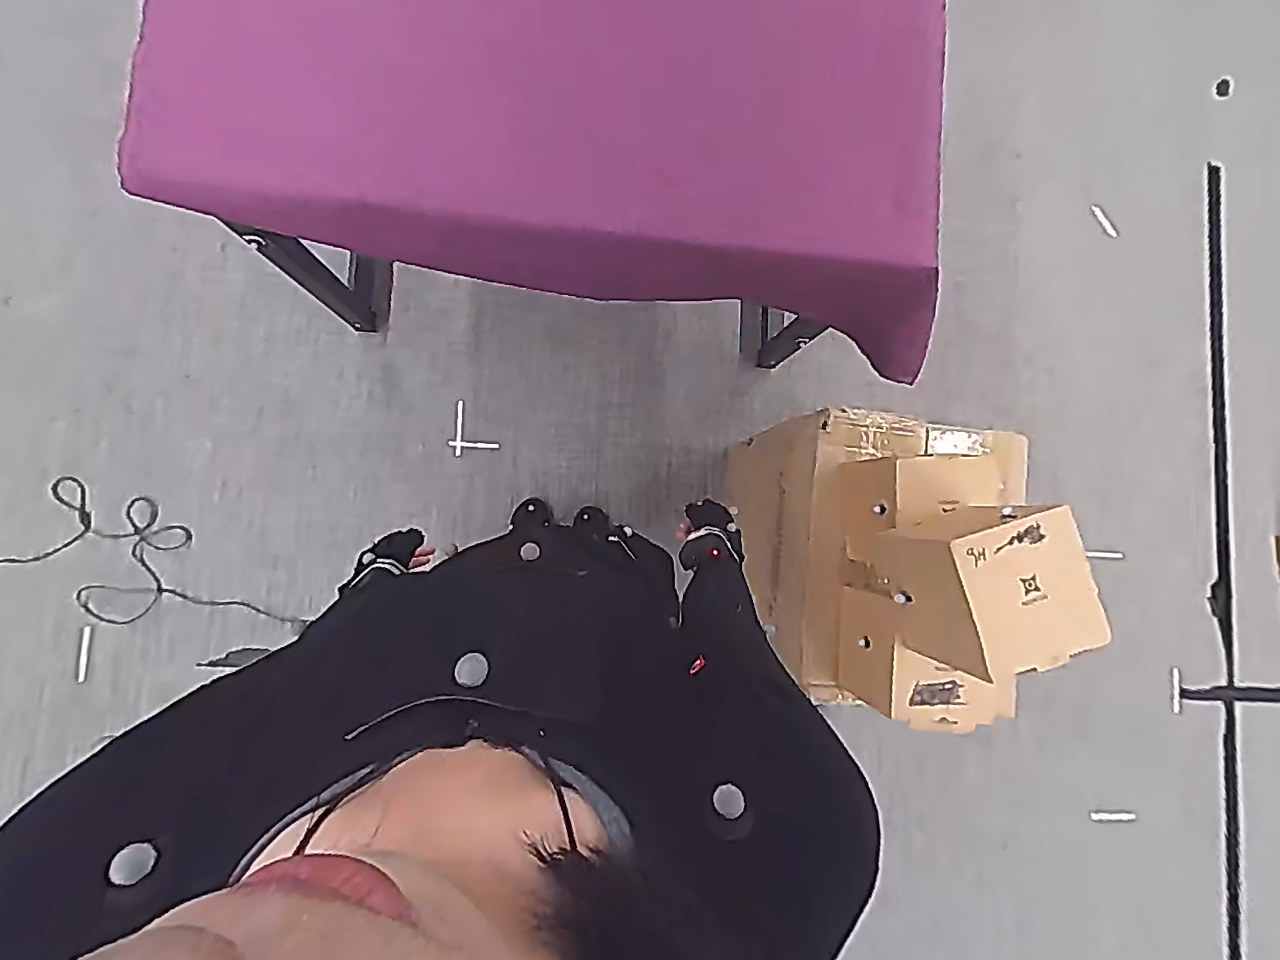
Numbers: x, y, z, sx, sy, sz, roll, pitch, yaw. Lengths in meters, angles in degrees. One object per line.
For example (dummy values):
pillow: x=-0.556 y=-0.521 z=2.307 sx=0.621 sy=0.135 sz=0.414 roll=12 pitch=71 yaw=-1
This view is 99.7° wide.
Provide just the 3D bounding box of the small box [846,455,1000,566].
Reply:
small box: x=0.452 y=0.054 z=0.887 sx=0.168 sy=0.176 sz=0.179 roll=0 pitch=88 yaw=-5

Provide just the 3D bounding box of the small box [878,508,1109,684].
small box: x=0.451 y=0.139 z=0.716 sx=0.168 sy=0.176 sz=0.179 roll=-15 pitch=88 yaw=-7

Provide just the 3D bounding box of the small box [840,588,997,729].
small box: x=0.437 y=0.277 z=0.868 sx=0.168 sy=0.176 sz=0.179 roll=6 pitch=83 yaw=-6
